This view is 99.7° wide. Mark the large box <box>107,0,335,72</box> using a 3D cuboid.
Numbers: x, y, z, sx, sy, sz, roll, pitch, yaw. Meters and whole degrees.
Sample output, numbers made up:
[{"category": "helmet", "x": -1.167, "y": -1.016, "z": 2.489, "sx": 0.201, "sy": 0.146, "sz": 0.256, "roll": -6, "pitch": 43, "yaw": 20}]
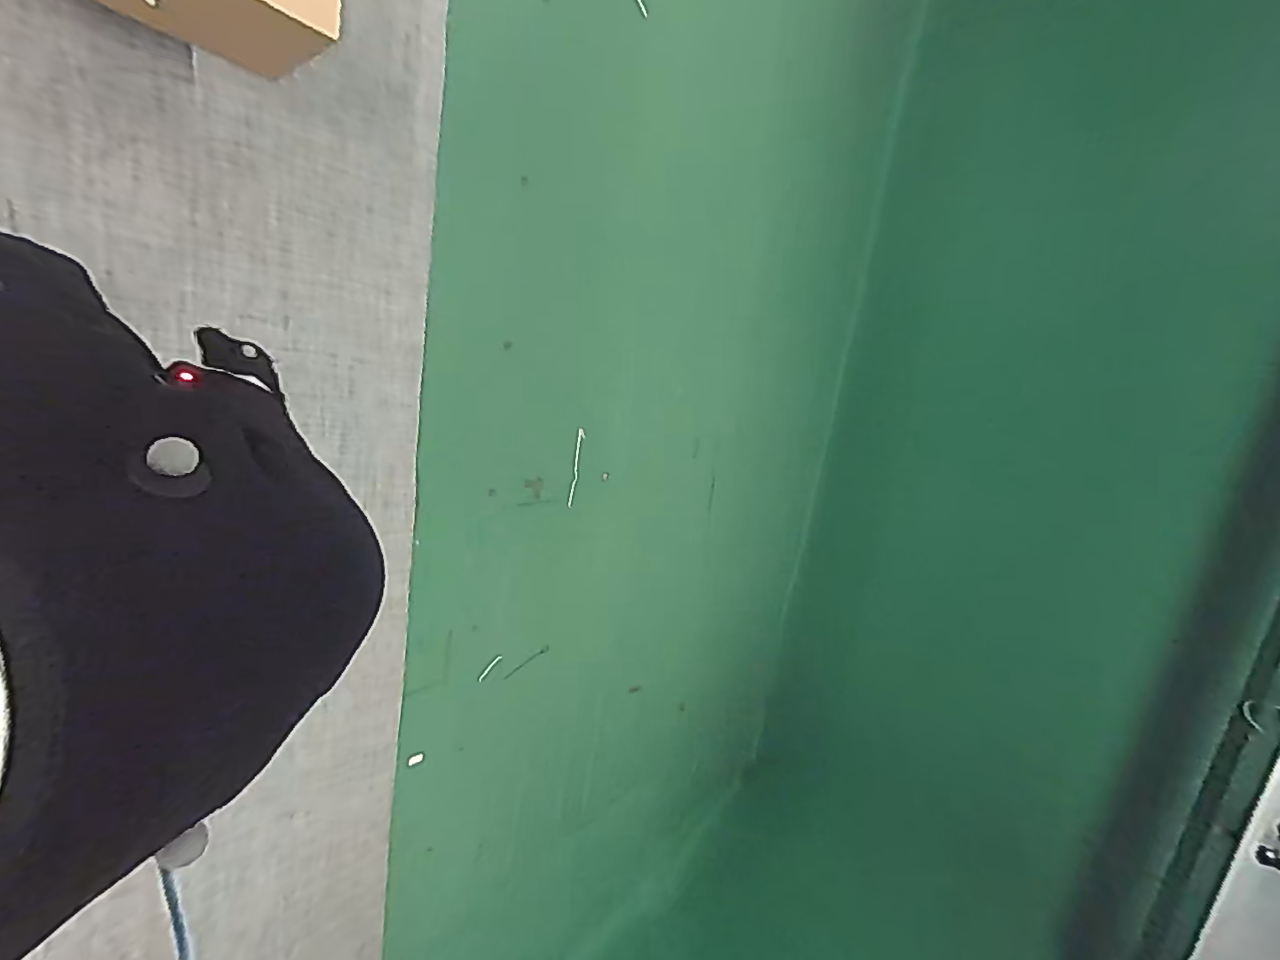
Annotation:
[{"category": "large box", "x": -0.701, "y": -0.878, "z": 0.773, "sx": 0.408, "sy": 0.320, "sz": 0.320, "roll": -3, "pitch": 106, "yaw": -50}]
